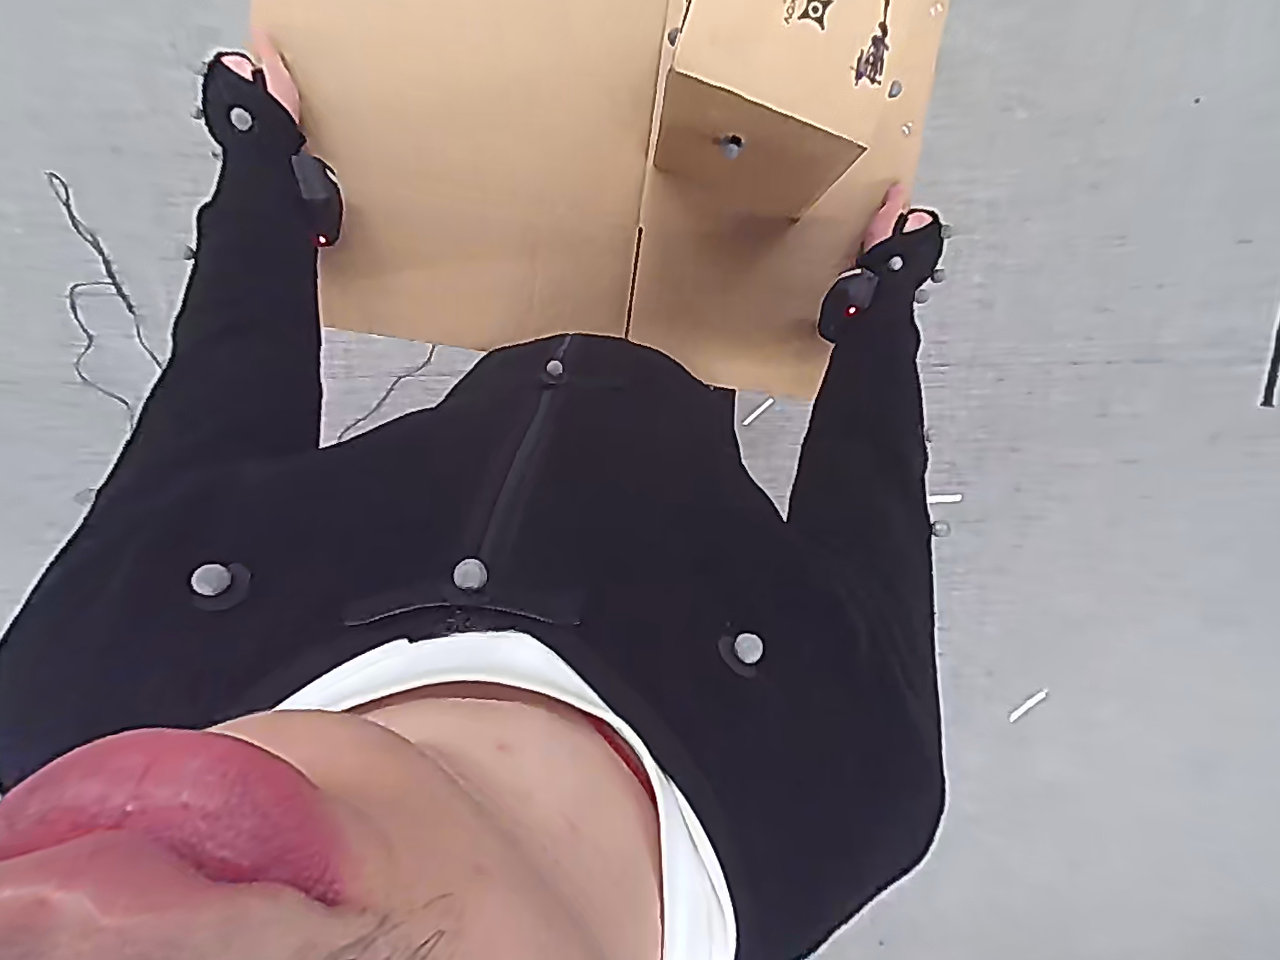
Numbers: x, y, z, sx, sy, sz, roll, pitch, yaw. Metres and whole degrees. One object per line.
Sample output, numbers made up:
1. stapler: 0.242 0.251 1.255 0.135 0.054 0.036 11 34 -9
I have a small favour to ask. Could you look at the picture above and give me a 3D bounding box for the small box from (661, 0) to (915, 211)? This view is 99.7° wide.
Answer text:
1. small box: 0.126 -0.386 0.514 0.179 0.176 0.168 18 96 -4
